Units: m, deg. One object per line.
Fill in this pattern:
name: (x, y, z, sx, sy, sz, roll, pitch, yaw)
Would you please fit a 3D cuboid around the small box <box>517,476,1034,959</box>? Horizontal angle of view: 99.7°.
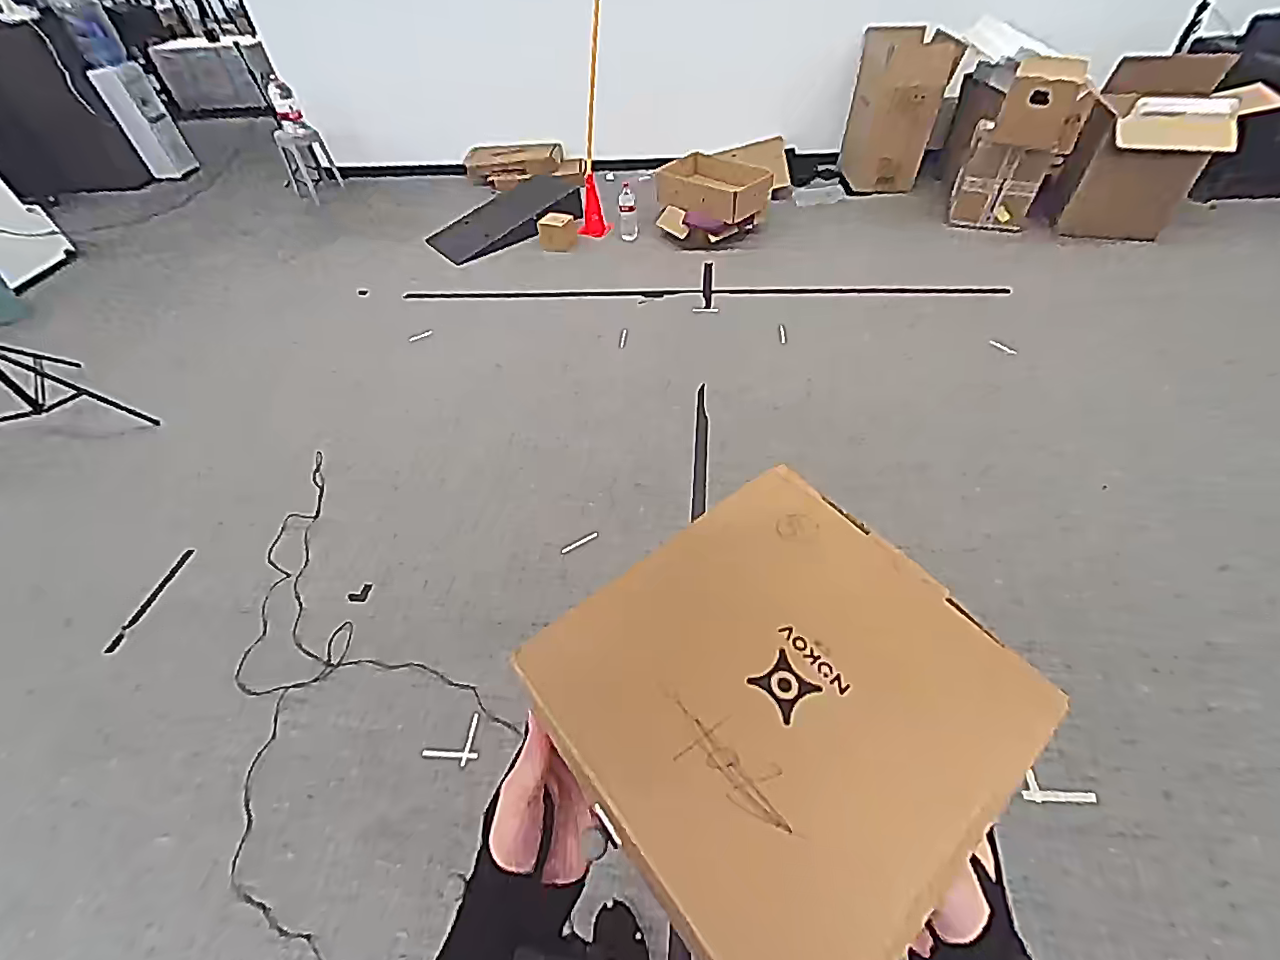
small box: (0.056, 0.137, 0.304, 0.179, 0.176, 0.168, -34, 62, -23)
